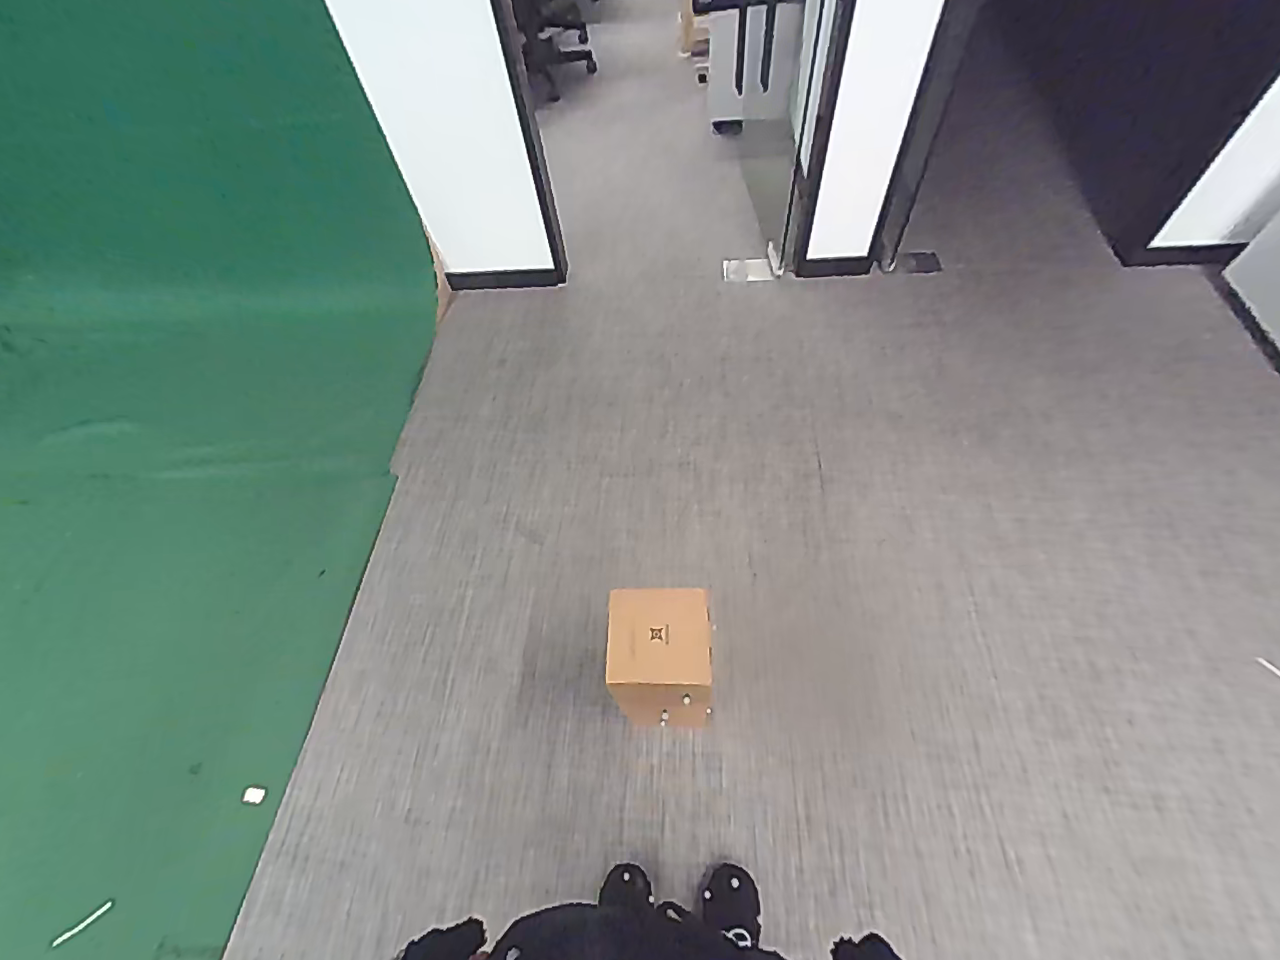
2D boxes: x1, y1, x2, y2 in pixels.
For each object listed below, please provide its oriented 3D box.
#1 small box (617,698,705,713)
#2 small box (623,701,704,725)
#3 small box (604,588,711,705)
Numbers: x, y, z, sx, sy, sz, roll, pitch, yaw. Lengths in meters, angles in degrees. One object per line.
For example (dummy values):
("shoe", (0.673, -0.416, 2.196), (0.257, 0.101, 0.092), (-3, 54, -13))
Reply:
("small box", (0.043, 0.384, 1.128), (0.179, 0.176, 0.168), (-2, 57, 4))
("small box", (0.059, 0.470, 1.266), (0.179, 0.176, 0.168), (-1, 57, 6))
("small box", (0.036, 0.306, 0.985), (0.179, 0.176, 0.168), (-3, 55, 5))
